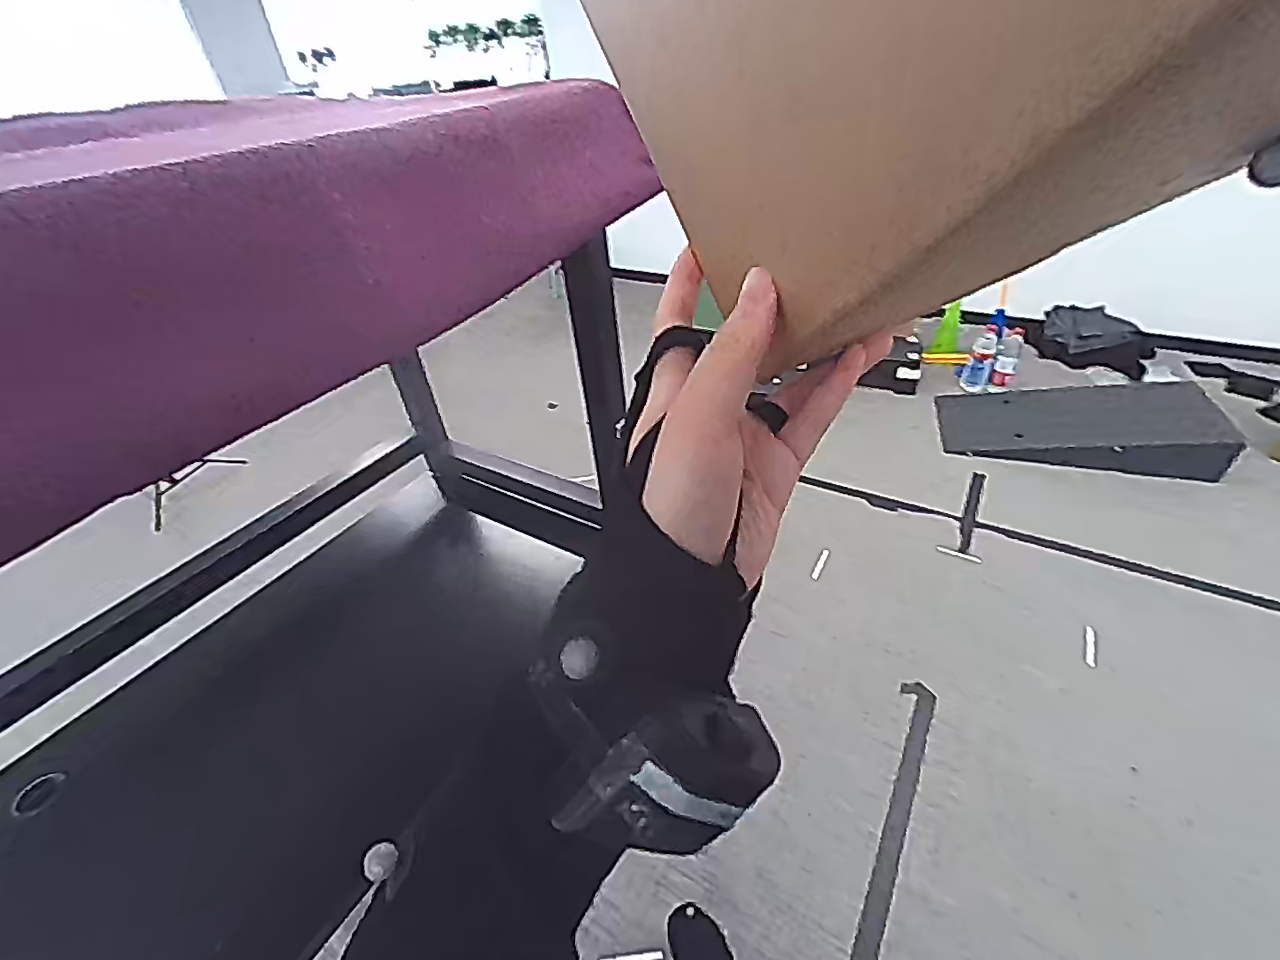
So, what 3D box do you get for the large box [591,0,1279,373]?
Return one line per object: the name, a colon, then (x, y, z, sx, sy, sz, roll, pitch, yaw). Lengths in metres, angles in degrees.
large box: (0.118, -0.293, 0.107, 0.320, 0.408, 0.320, -24, -3, -5)
